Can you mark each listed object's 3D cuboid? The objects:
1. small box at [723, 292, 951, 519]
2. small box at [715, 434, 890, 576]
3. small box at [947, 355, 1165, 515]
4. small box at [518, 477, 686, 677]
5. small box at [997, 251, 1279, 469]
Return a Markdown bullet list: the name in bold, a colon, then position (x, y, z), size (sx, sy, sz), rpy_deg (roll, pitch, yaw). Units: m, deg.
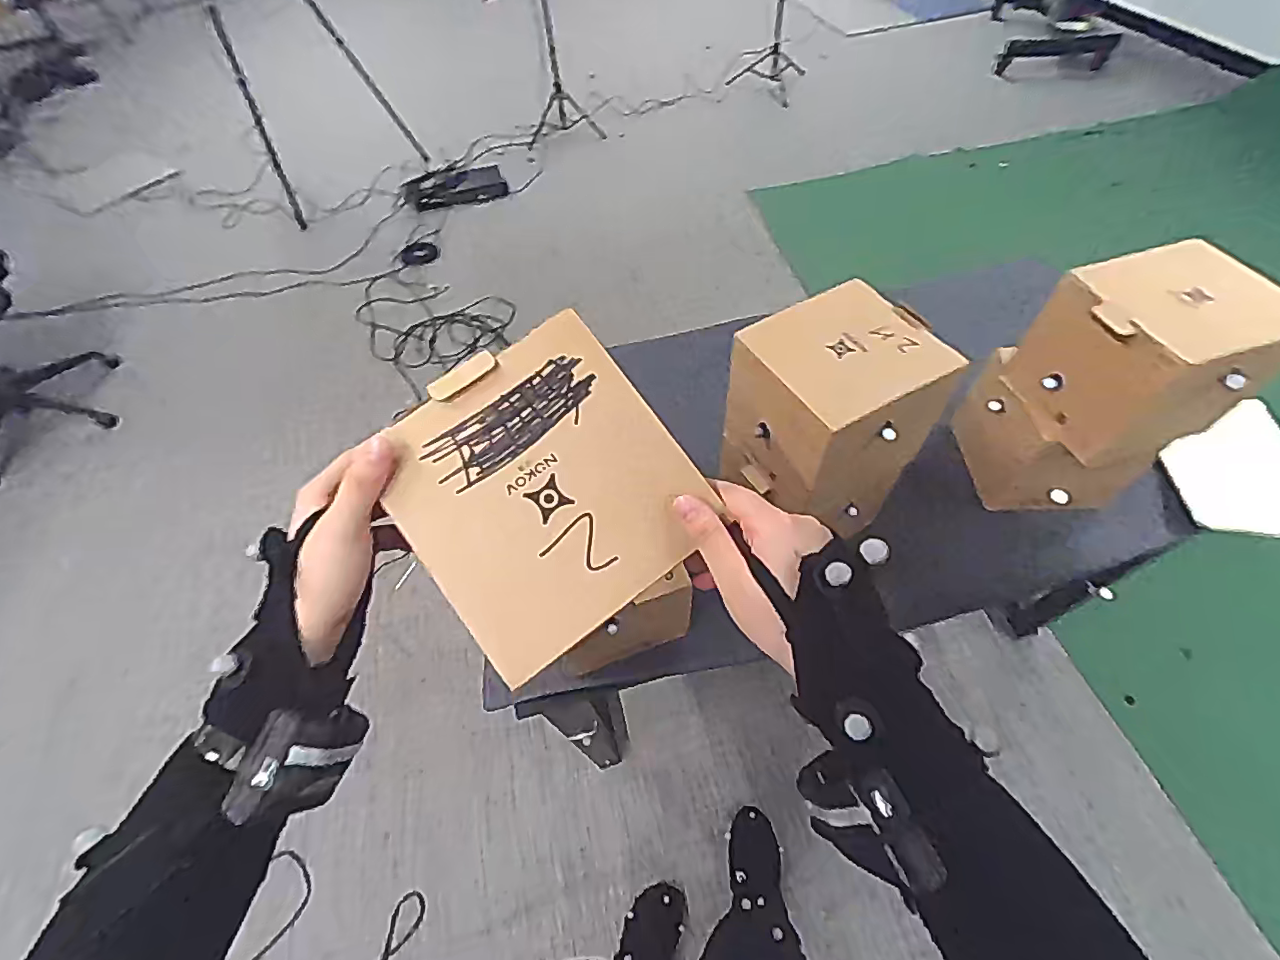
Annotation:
- **small box**: position (0.213, -0.083, 0.639), size (0.179, 0.176, 0.168), rpy_deg (-26, 58, -13)
- **small box**: position (0.222, 0.009, 0.776), size (0.179, 0.176, 0.168), rpy_deg (-28, 58, -15)
- **small box**: position (0.586, -0.065, 0.796), size (0.168, 0.176, 0.179), rpy_deg (-2, 55, 4)
- **small box**: position (-0.048, 0.130, 0.709), size (0.168, 0.176, 0.179), rpy_deg (-18, 56, -9)
- **small box**: position (0.585, -0.139, 0.649), size (0.179, 0.176, 0.168), rpy_deg (-15, 55, -5)
